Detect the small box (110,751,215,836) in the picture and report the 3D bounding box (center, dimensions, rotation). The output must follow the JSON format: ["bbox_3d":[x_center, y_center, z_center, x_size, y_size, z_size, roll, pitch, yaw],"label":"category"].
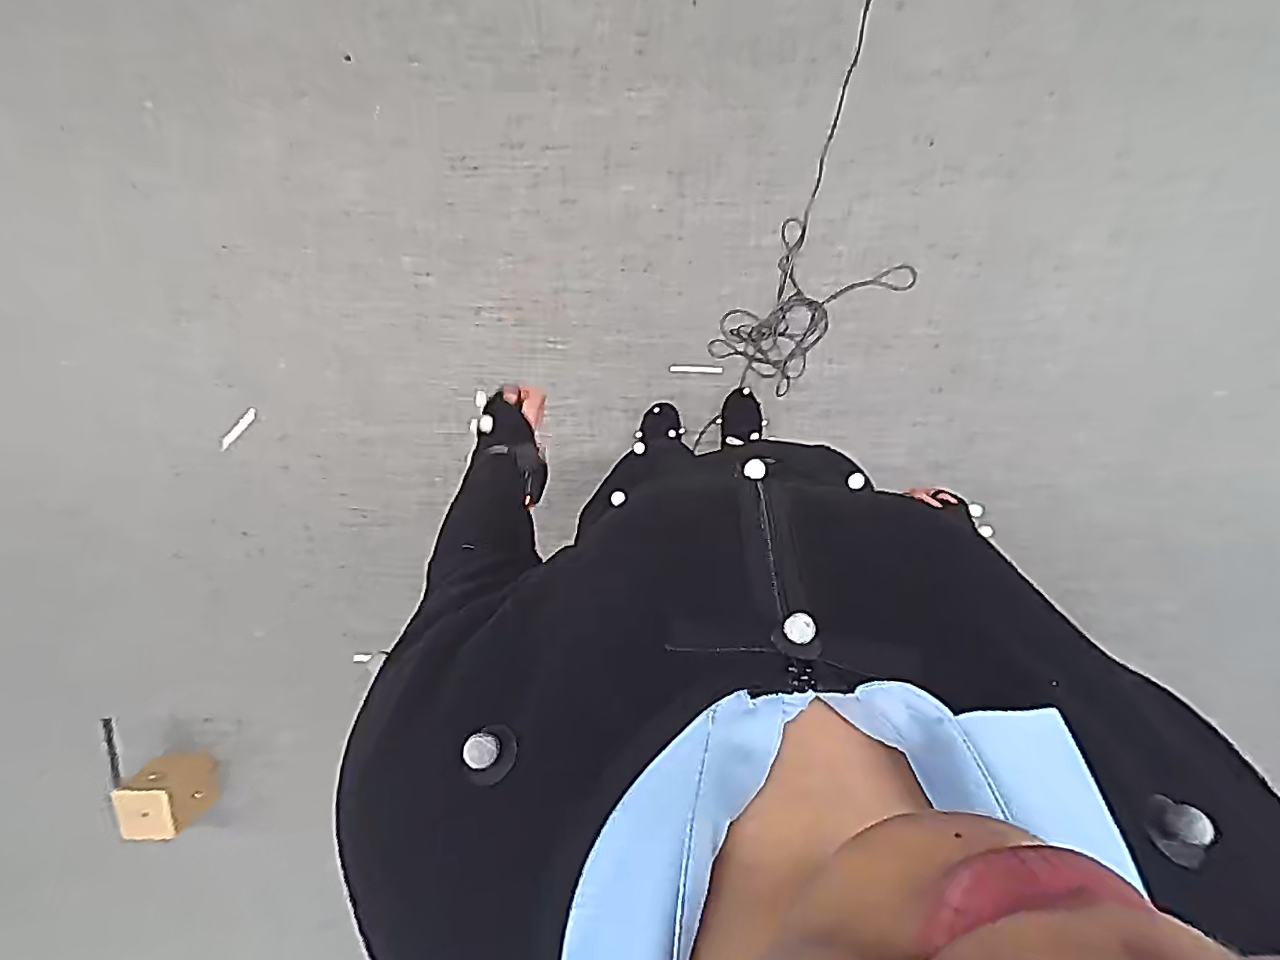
[{"bbox_3d":[-1.467,0.967,1.678,0.179,0.176,0.168,-2,99,5],"label":"small box"}]
